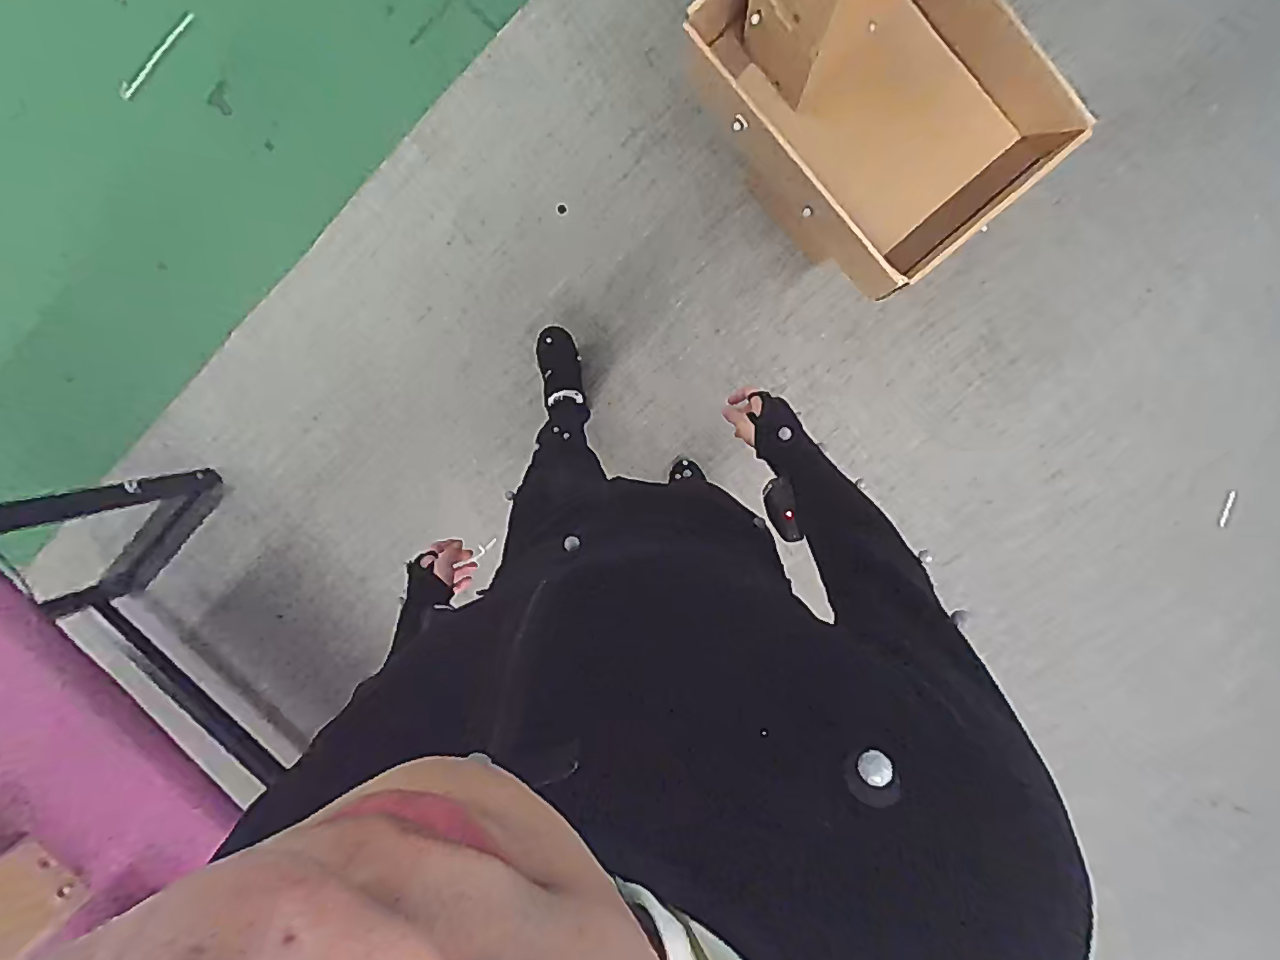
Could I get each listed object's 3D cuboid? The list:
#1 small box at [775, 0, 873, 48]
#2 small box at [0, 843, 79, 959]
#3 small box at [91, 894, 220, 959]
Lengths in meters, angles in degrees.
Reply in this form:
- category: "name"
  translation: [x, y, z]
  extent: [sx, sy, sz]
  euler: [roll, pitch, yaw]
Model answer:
- category: "small box"
  translation: [0.296, -0.805, 0.790]
  extent: [0.179, 0.176, 0.168]
  euler: [-39, 94, 9]
- category: "small box"
  translation: [-1.228, 0.837, 1.011]
  extent: [0.179, 0.176, 0.168]
  euler: [-43, 94, 10]
- category: "small box"
  translation: [-0.951, 0.941, 1.010]
  extent: [0.179, 0.176, 0.168]
  euler: [-42, 94, 9]
